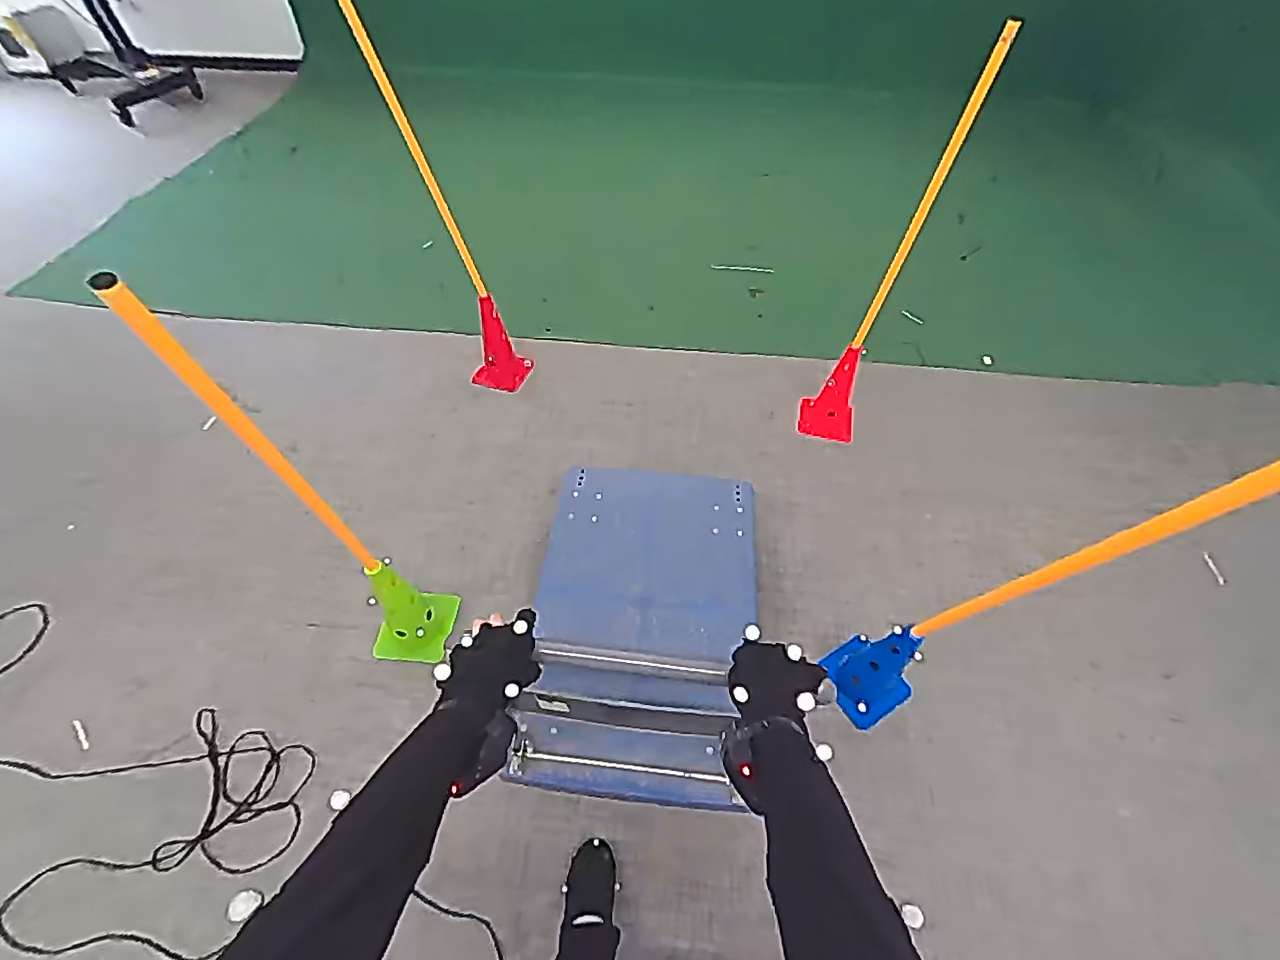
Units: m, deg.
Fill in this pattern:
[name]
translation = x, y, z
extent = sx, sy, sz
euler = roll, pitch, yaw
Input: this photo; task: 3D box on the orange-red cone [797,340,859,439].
[orange-red cone]
translation = 0.708, -0.343, 1.927
extent = 0.198, 0.360, 0.199
euler = 14, 55, 10
